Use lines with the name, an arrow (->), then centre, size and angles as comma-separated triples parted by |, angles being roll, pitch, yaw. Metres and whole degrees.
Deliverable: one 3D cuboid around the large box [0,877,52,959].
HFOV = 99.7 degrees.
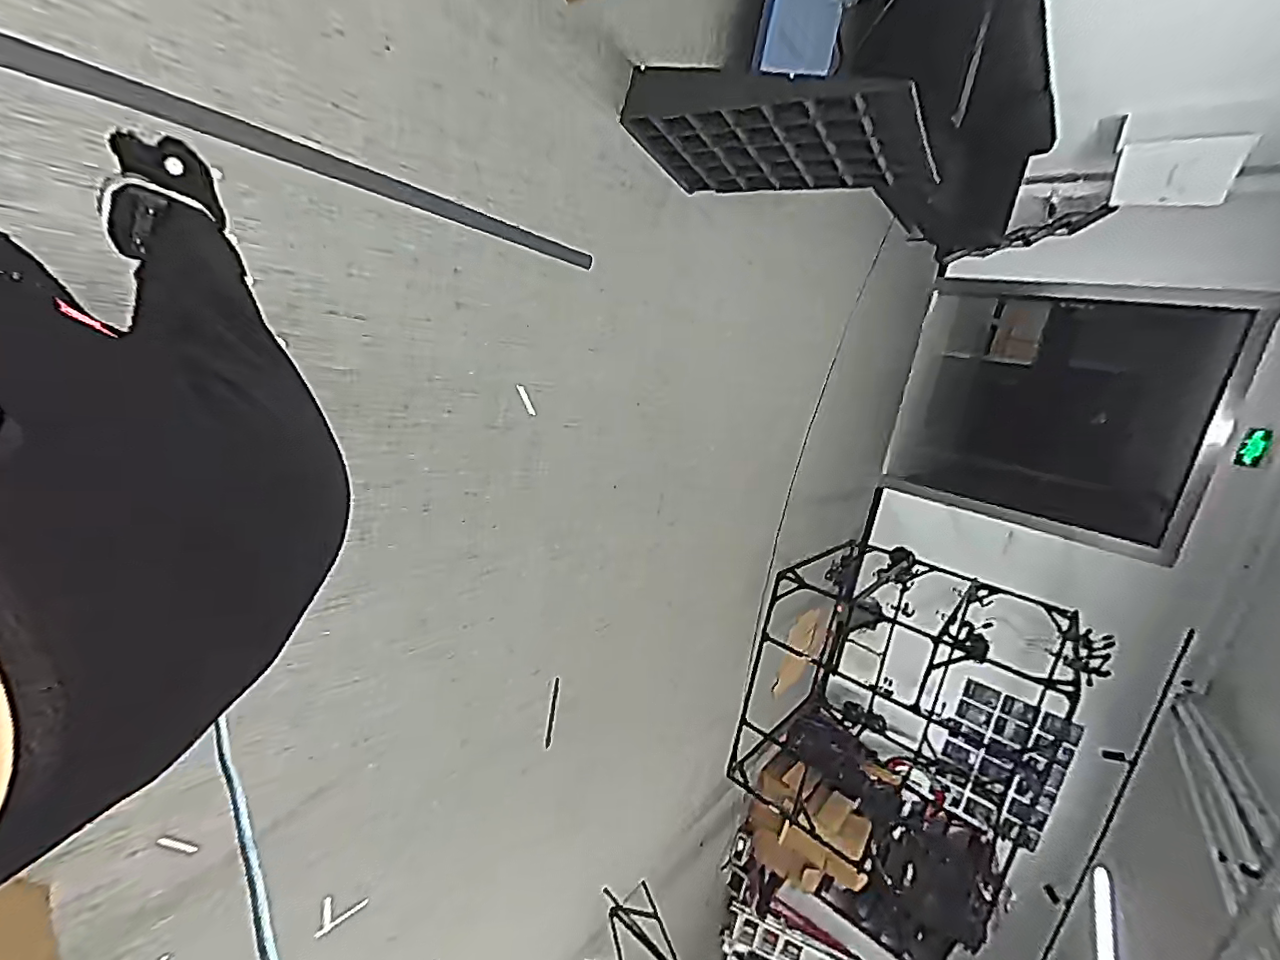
large box -> -1.403, 0.931, 0.958 | 0.320, 0.320, 0.408 | -47, 138, -30
